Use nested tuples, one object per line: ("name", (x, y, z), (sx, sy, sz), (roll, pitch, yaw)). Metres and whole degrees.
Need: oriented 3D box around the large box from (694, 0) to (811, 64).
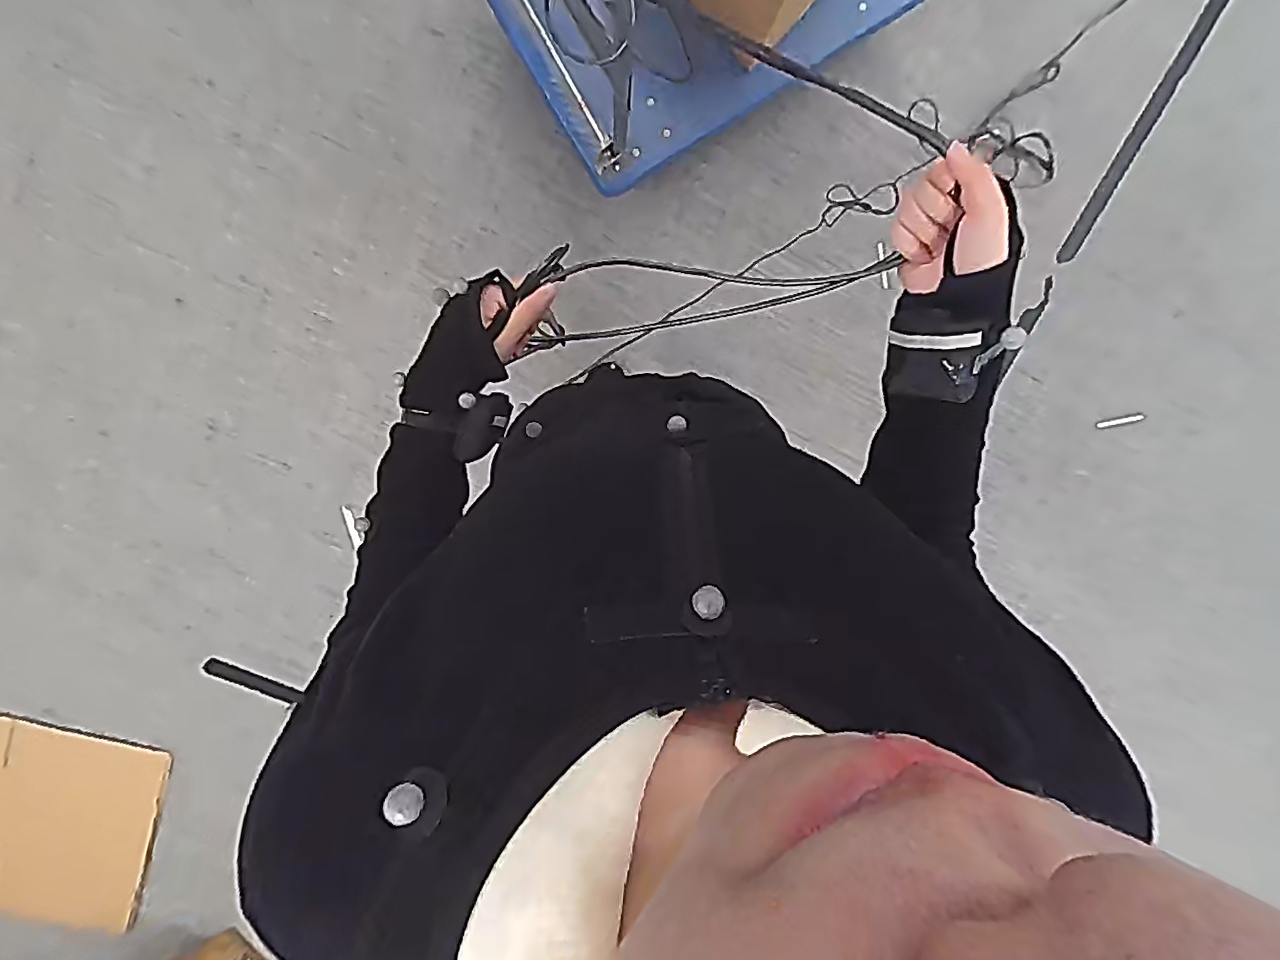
("large box", (0.210, -1.102, 0.973), (0.408, 0.320, 0.320), (43, 95, -11))
